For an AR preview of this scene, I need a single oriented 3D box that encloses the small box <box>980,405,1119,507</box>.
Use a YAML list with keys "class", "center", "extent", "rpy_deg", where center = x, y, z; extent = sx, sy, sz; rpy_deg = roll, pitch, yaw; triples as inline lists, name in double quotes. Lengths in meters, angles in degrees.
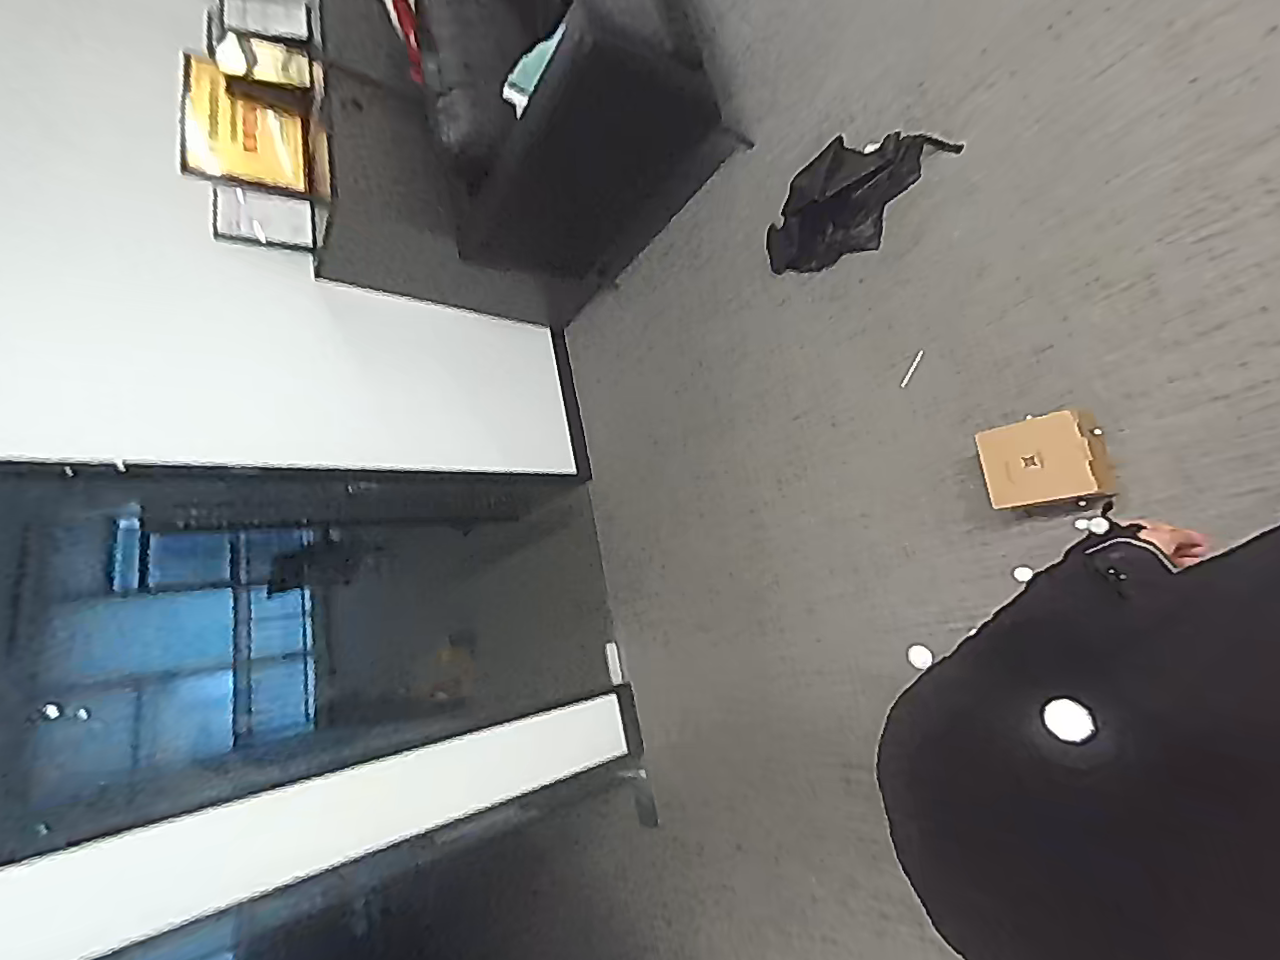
- class: "small box"
  center: [0.836, -0.041, 1.101]
  extent: [0.179, 0.176, 0.168]
  rpy_deg: [-22, 71, 50]
